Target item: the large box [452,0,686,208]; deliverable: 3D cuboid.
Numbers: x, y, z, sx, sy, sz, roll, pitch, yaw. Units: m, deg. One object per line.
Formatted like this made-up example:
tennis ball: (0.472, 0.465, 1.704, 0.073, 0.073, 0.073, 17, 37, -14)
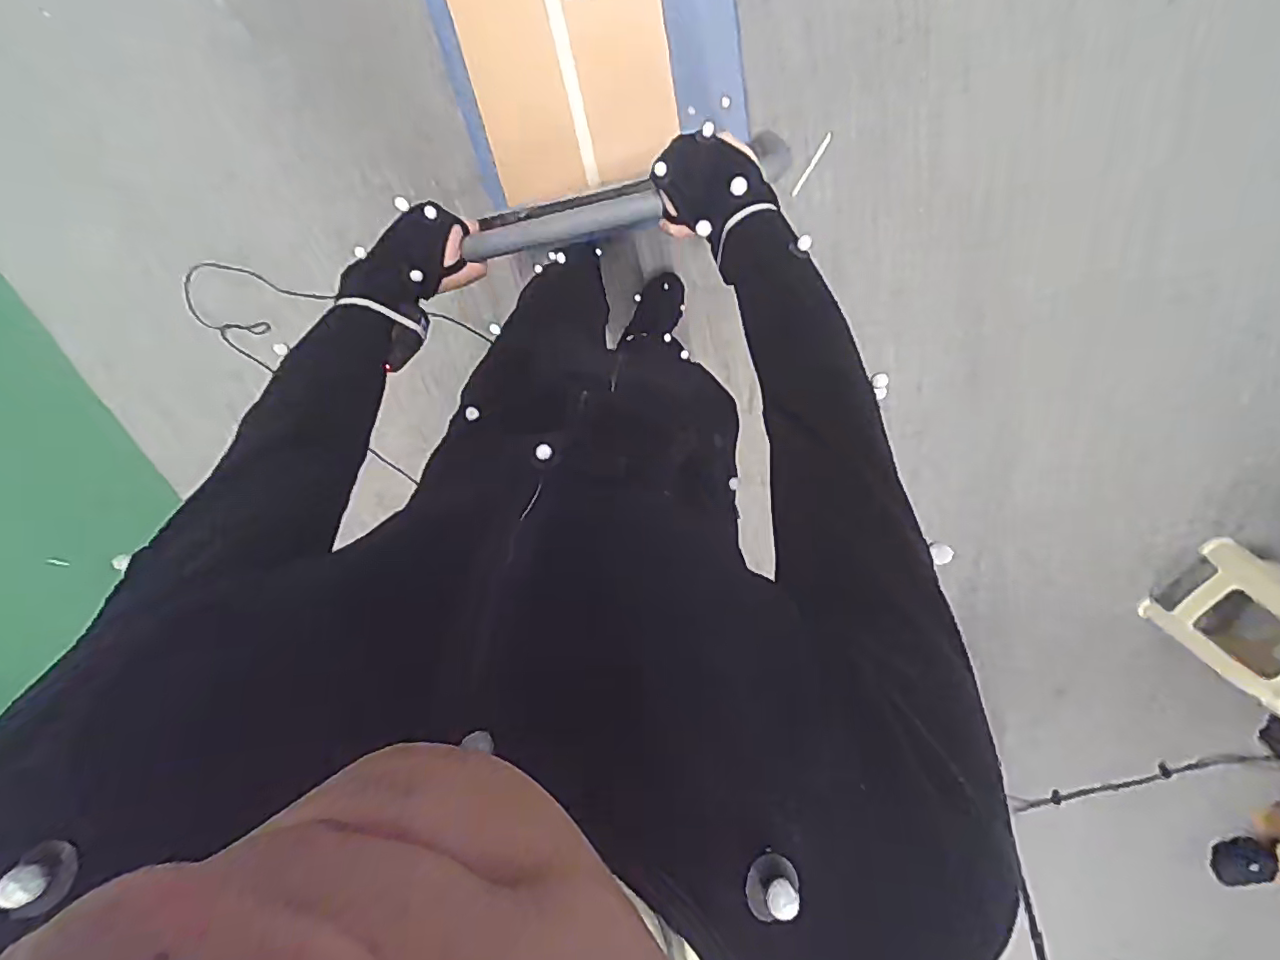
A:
large box: (-0.104, -0.745, 0.969, 0.320, 0.320, 0.408, -8, 118, 9)
